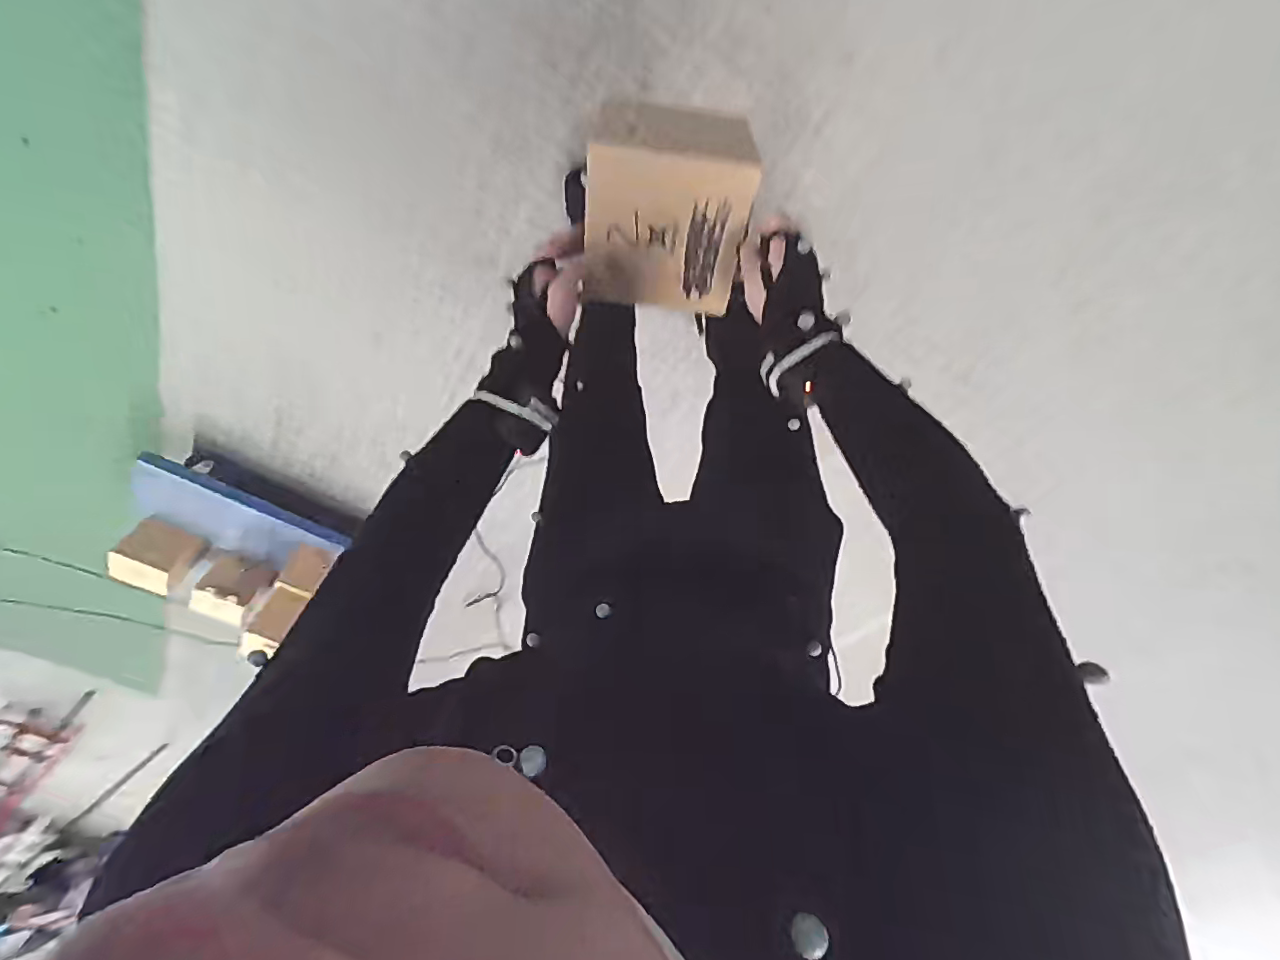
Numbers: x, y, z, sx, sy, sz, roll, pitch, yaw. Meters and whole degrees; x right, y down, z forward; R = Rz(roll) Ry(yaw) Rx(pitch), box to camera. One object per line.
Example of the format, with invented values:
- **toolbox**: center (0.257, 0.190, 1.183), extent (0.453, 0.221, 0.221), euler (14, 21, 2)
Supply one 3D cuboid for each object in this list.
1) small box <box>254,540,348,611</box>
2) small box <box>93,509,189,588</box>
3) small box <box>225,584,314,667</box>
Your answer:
- **small box**: center (-1.142, 0.333, 1.837), extent (0.168, 0.176, 0.179), euler (-18, 127, 20)
- **small box**: center (-1.664, 0.226, 1.811), extent (0.179, 0.176, 0.168), euler (31, 128, -18)
- **small box**: center (-1.173, 0.460, 1.723), extent (0.168, 0.176, 0.179), euler (30, 129, -16)
